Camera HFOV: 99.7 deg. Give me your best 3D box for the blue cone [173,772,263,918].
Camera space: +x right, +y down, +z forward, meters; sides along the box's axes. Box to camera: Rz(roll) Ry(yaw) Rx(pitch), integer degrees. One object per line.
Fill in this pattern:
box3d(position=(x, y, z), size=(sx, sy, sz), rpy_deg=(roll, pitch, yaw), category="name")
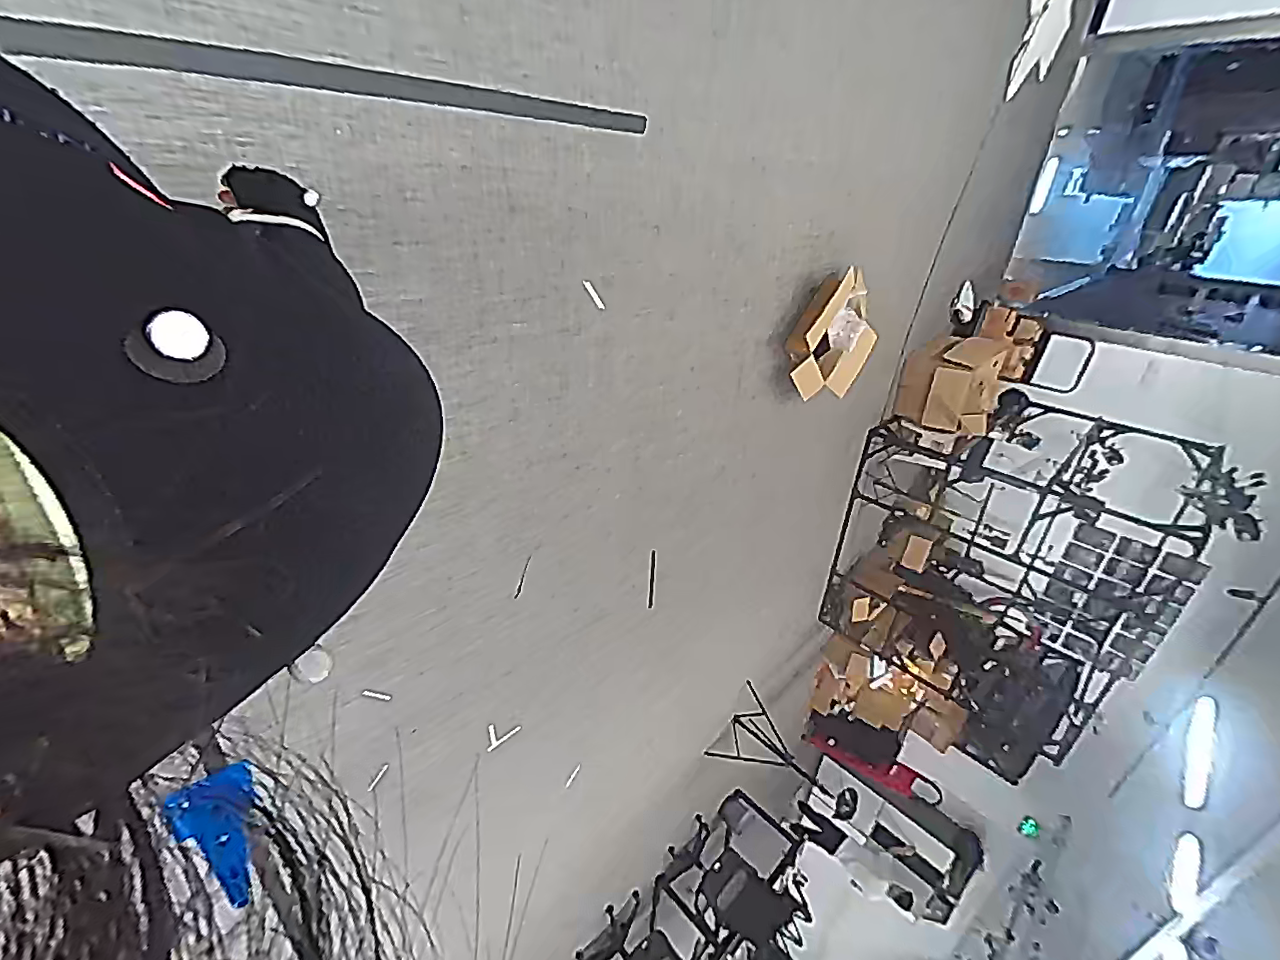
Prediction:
box3d(position=(-1.114, 1.029, 1.484), size=(0.193, 0.380, 0.192), rpy_deg=(-20, 126, -41), category="blue cone")
